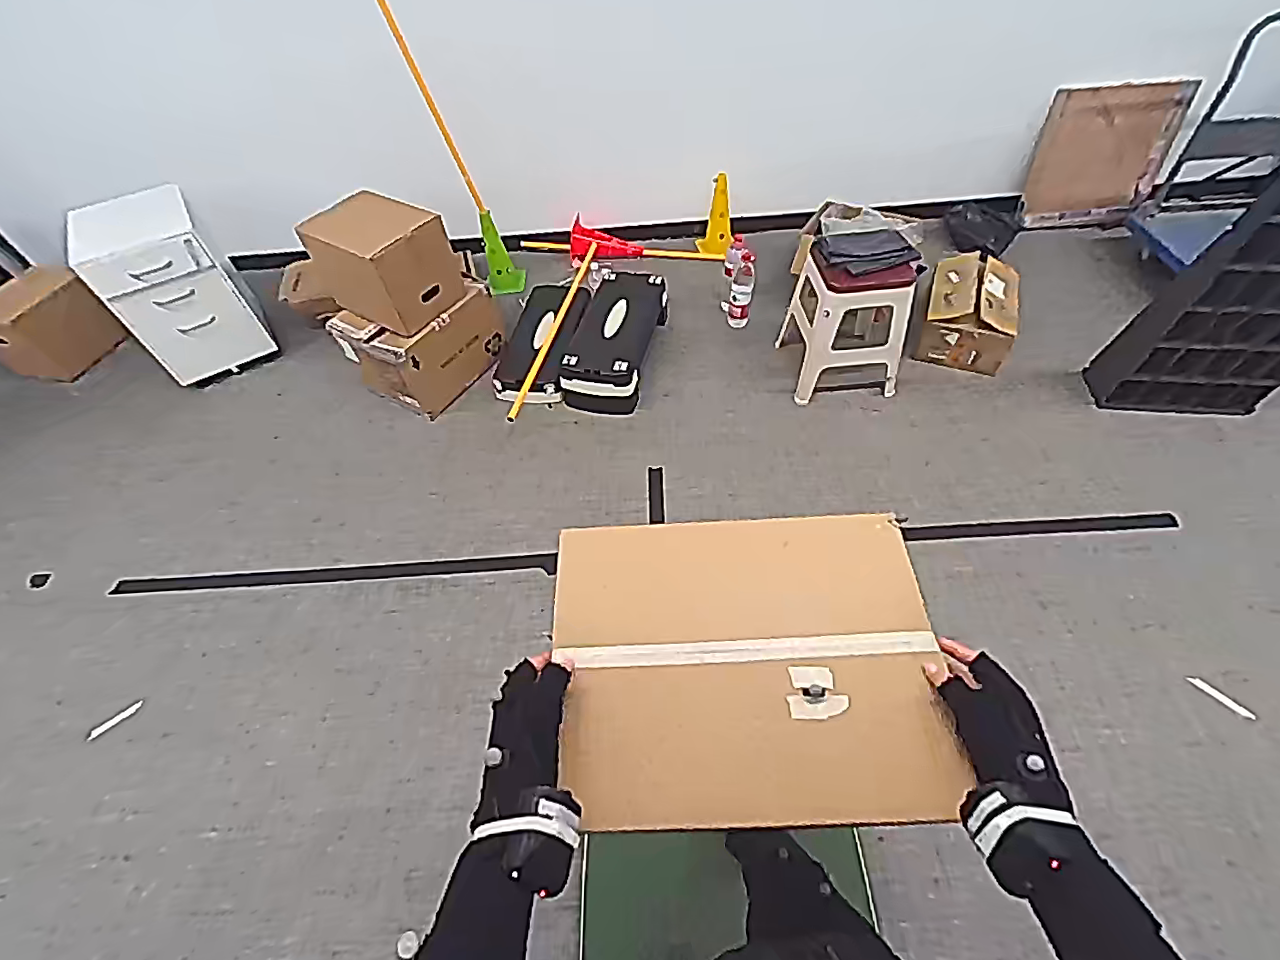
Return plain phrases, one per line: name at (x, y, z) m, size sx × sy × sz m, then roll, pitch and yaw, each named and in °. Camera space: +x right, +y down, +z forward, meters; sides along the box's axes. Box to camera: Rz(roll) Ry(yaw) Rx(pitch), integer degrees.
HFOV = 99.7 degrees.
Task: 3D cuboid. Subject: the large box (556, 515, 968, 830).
large box at (0.114, 0.267, 0.718) m, size 0.408 × 0.320 × 0.320 m, roll -3°, pitch 57°, yaw 1°
